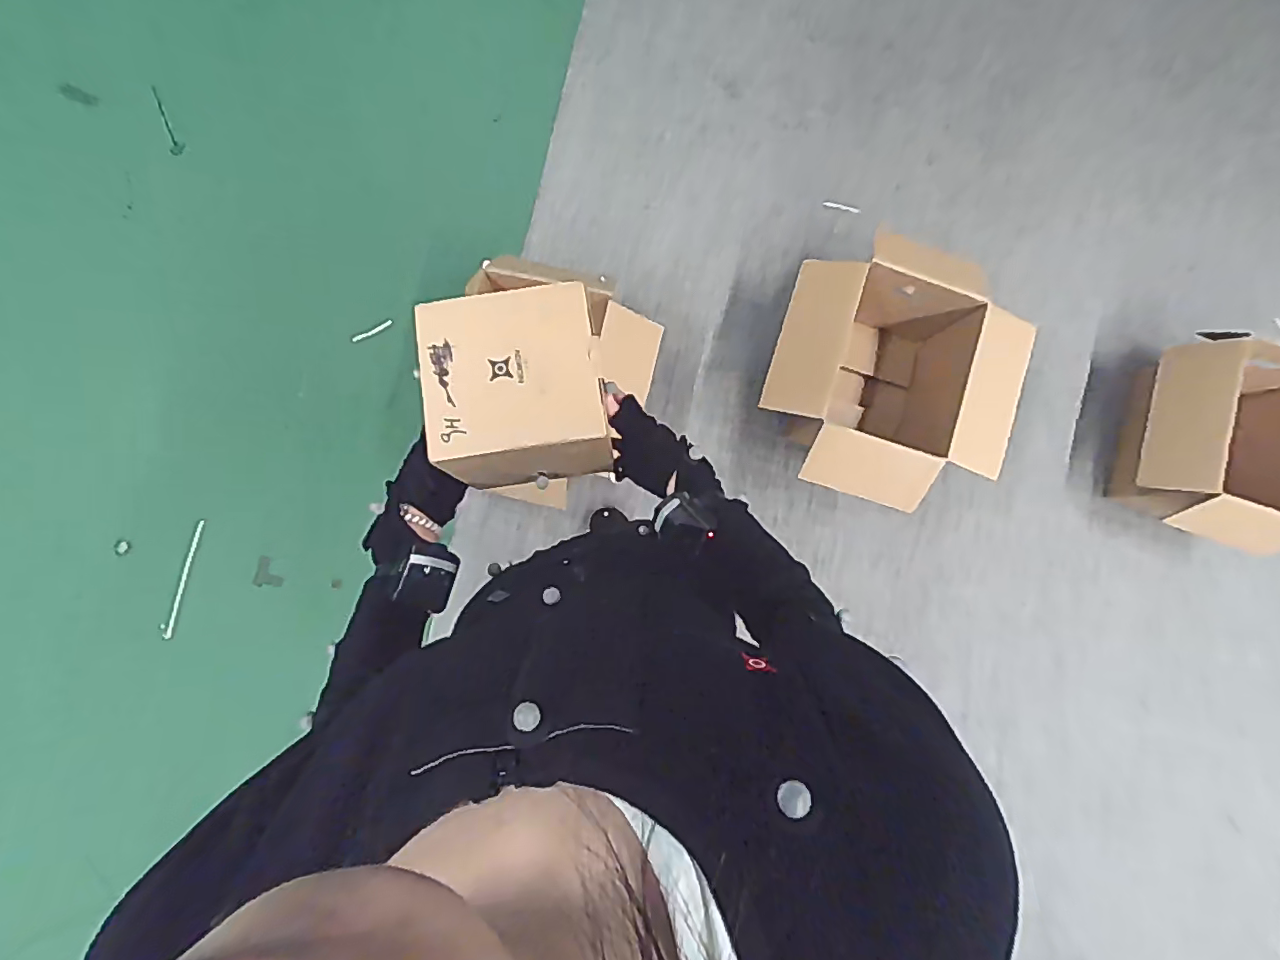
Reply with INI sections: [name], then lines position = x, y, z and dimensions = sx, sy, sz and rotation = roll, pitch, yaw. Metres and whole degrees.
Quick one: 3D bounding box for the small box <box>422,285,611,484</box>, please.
[small box]
position = -0.128, -0.097, 0.615
dimensions = 0.179, 0.176, 0.168
rotation = -7, 79, -3
